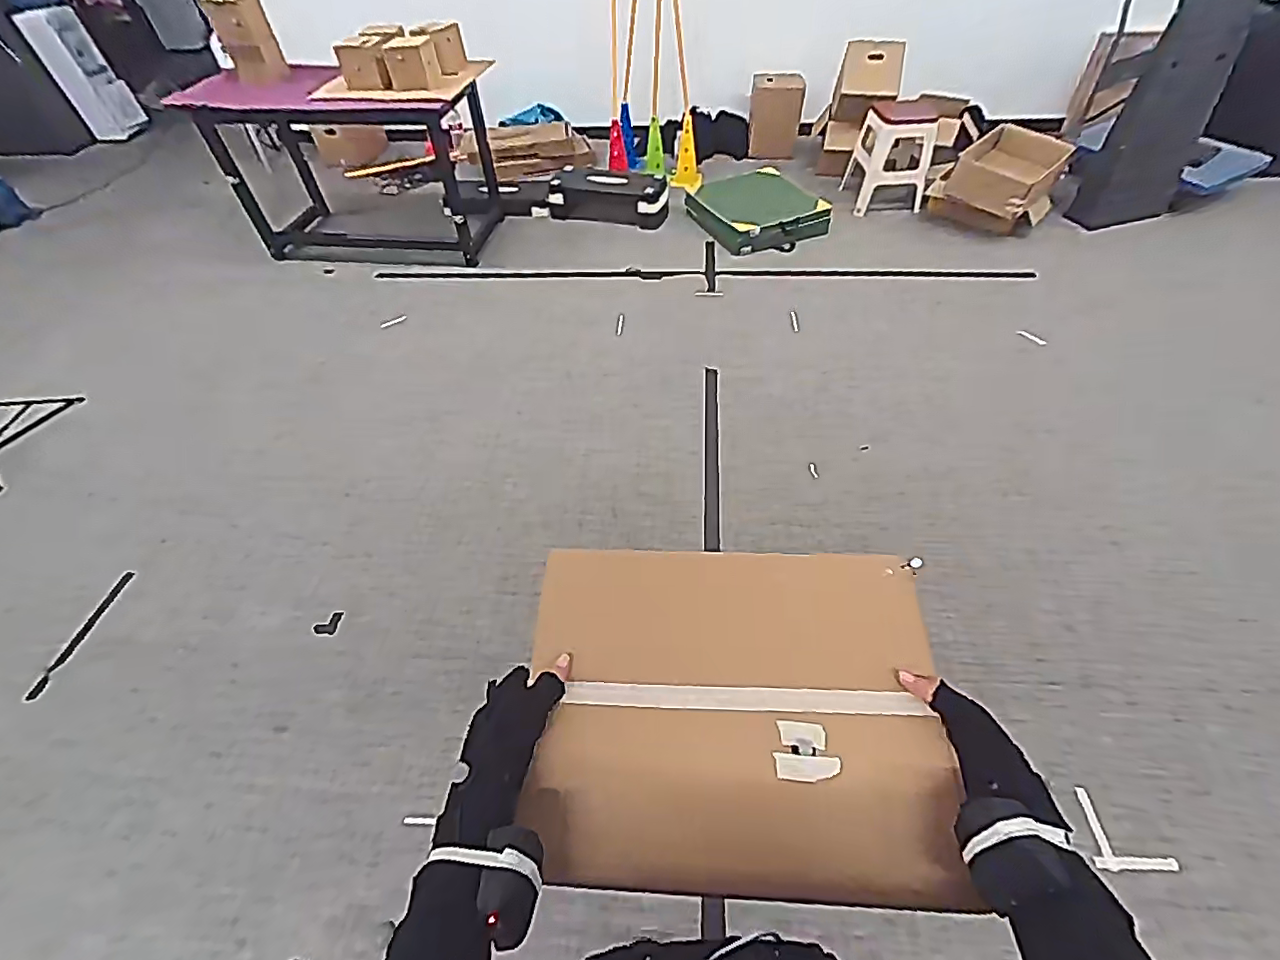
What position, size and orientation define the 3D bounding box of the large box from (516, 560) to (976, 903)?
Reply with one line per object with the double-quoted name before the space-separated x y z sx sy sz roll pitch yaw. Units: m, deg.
"large box" 0.097 0.306 0.668 0.408 0.320 0.320 1 58 4
